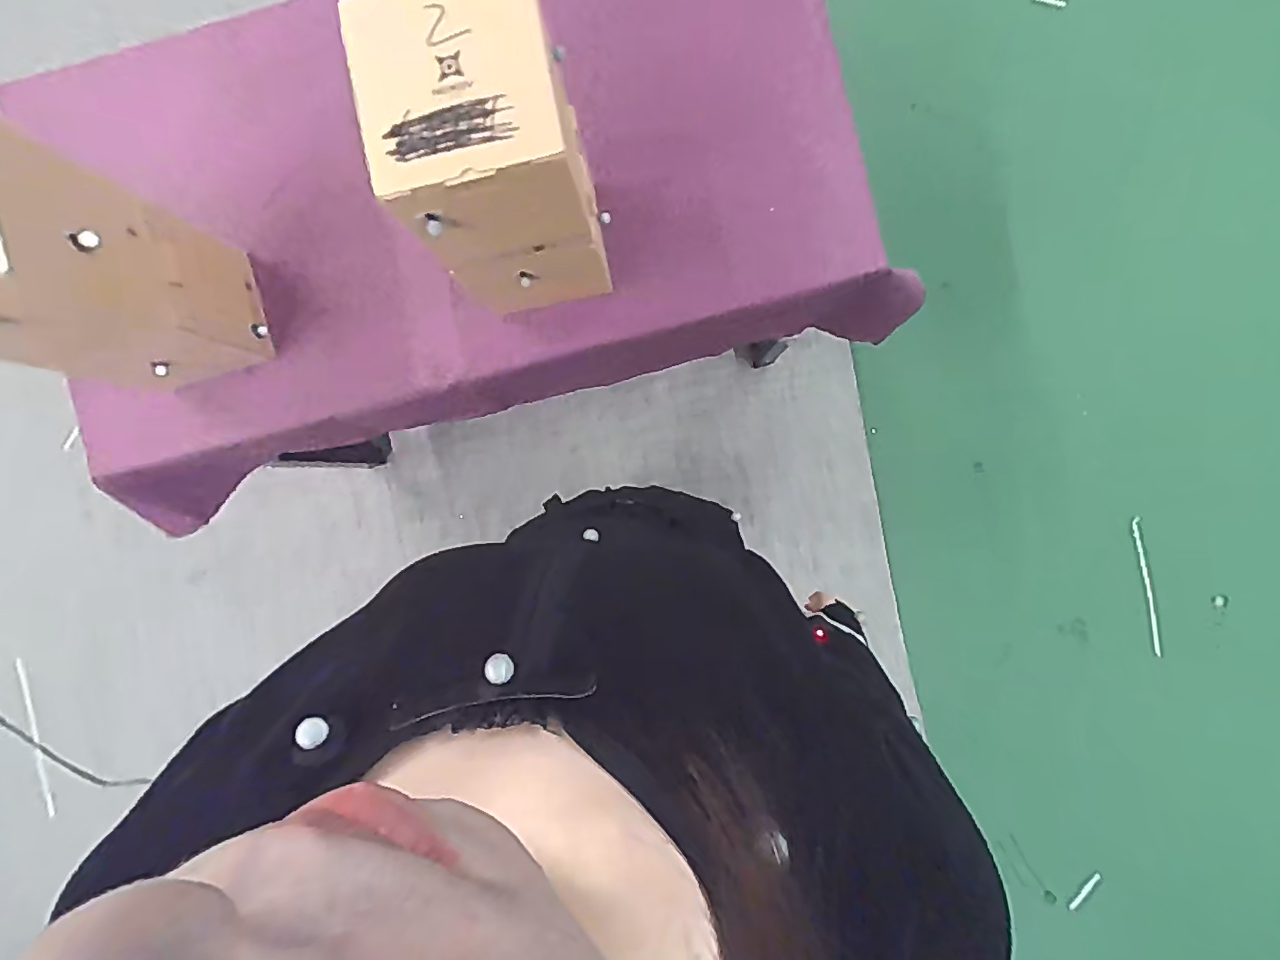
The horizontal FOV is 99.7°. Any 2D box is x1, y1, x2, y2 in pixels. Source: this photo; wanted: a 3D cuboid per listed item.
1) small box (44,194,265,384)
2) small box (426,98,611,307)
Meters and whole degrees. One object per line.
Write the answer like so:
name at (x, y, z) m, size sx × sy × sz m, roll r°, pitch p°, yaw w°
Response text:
small box at (-0.639, -0.237, 0.714) m, size 0.179 × 0.176 × 0.168 m, roll -16°, pitch 90°, yaw 4°
small box at (-0.142, -0.335, 0.690) m, size 0.179 × 0.176 × 0.168 m, roll -10°, pitch 91°, yaw 3°
